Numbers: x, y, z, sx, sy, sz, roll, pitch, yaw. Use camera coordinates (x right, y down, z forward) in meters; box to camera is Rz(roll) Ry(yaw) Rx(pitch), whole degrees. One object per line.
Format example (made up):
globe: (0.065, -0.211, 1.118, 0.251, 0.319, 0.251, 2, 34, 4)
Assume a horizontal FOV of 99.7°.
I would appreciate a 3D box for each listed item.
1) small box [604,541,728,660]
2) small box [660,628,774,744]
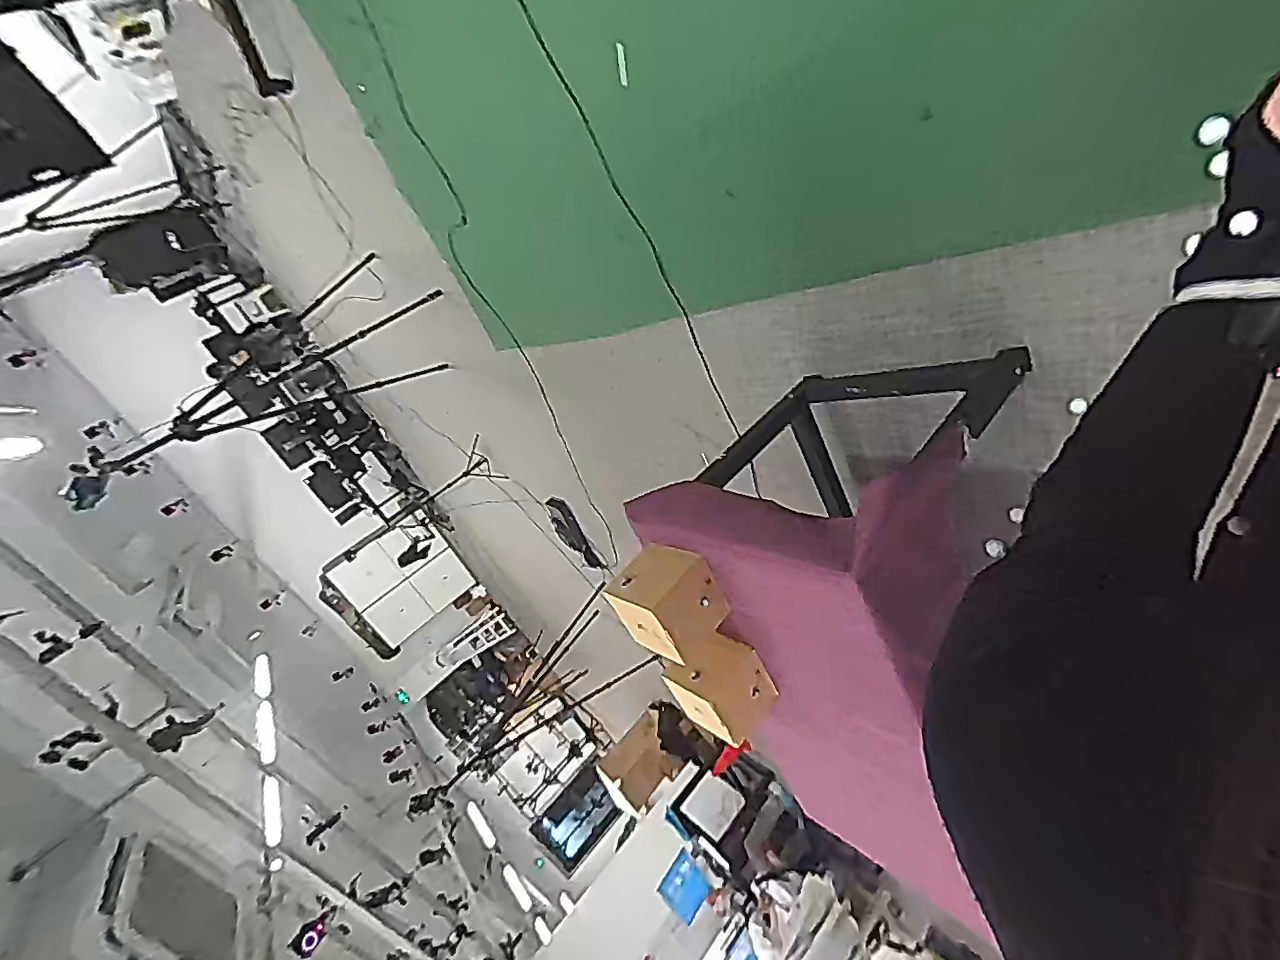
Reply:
small box: (0.059, 0.255, 1.186, 0.179, 0.176, 0.168, 6, 132, 51)
small box: (0.188, 0.485, 1.305, 0.179, 0.176, 0.168, 5, 130, 54)
